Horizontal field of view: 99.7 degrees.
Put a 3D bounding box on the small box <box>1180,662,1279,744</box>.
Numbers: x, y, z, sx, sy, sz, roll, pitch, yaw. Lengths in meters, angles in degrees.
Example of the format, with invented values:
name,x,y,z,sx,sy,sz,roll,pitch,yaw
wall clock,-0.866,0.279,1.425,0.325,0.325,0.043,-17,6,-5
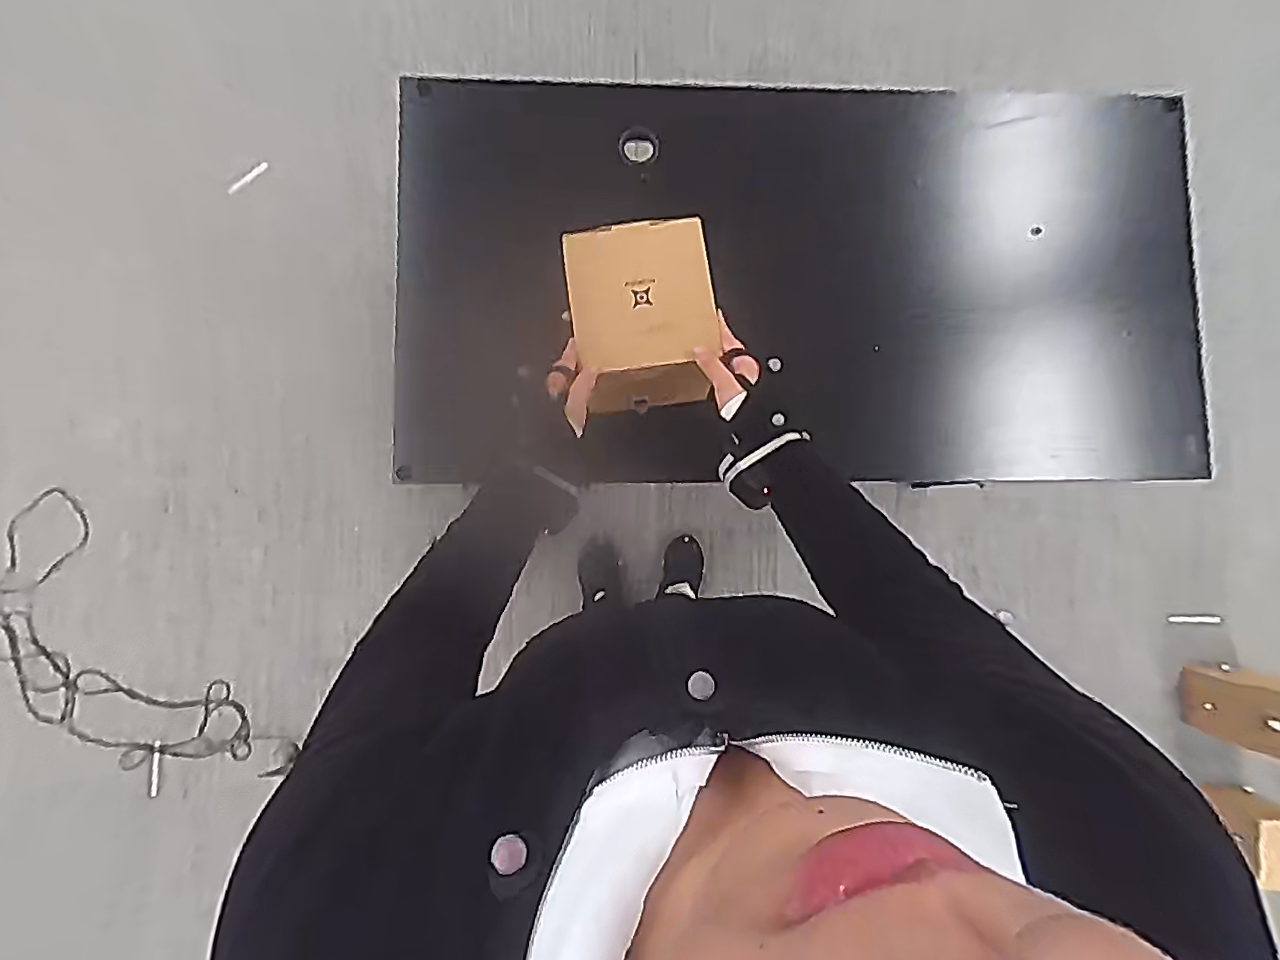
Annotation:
name,x,y,z,sx,sy,sz,roll,pitch,yaw
small box,1.623,0.598,1.465,0.179,0.176,0.168,-1,87,-2

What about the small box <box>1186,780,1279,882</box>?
name,x,y,z,sx,sy,sz,roll,pitch,yaw
small box,1.625,0.932,1.449,0.168,0.176,0.179,3,88,-2

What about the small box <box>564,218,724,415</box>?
name,x,y,z,sx,sy,sz,roll,pitch,yaw
small box,0.002,-0.198,0.694,0.168,0.176,0.179,-9,81,-1

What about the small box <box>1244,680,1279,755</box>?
name,x,y,z,sx,sy,sz,roll,pitch,yaw
small box,1.633,0.591,1.299,0.179,0.176,0.168,5,86,-2
